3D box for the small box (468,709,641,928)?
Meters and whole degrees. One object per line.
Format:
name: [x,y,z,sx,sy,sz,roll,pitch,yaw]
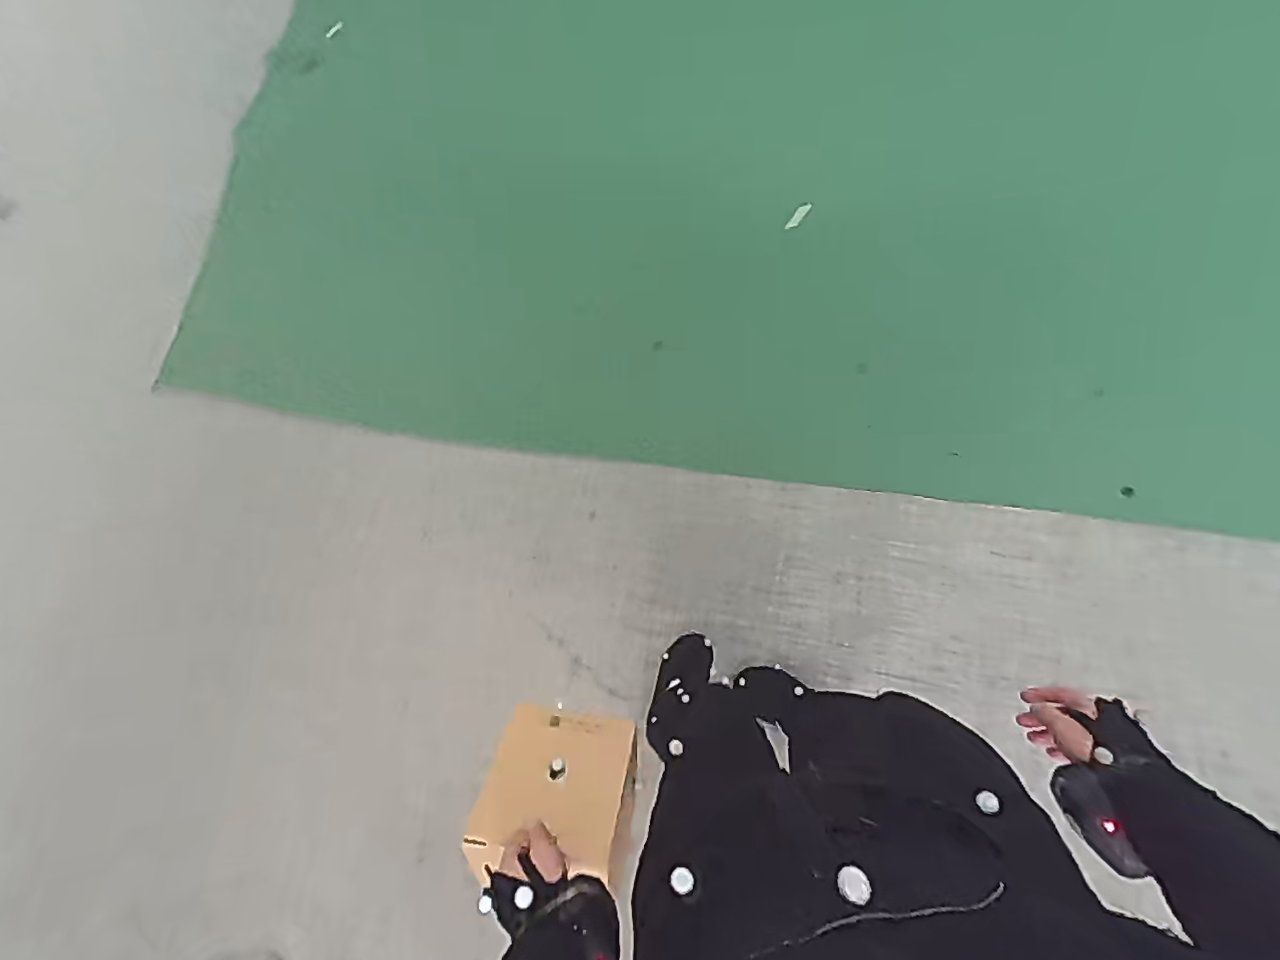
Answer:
small box: [-0.095,0.422,0.689,0.168,0.179,0.176,7,35,9]
